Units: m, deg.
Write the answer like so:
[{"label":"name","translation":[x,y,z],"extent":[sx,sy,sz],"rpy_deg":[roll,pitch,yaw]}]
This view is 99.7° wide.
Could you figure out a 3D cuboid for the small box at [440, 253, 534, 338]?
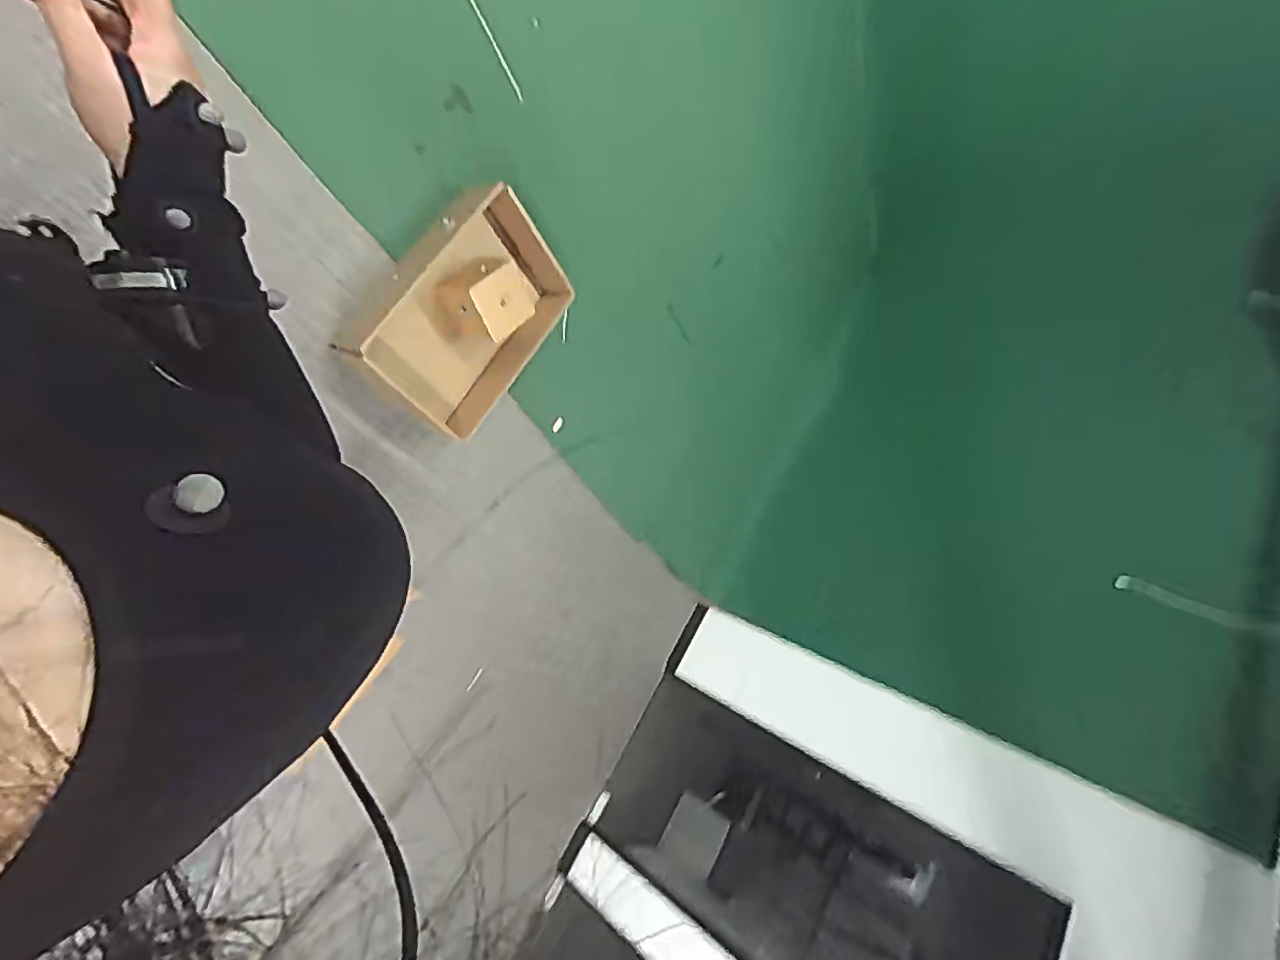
[{"label":"small box","translation":[-0.447,-0.534,1.558],"extent":[0.179,0.176,0.168],"rpy_deg":[-49,141,-26]}]
